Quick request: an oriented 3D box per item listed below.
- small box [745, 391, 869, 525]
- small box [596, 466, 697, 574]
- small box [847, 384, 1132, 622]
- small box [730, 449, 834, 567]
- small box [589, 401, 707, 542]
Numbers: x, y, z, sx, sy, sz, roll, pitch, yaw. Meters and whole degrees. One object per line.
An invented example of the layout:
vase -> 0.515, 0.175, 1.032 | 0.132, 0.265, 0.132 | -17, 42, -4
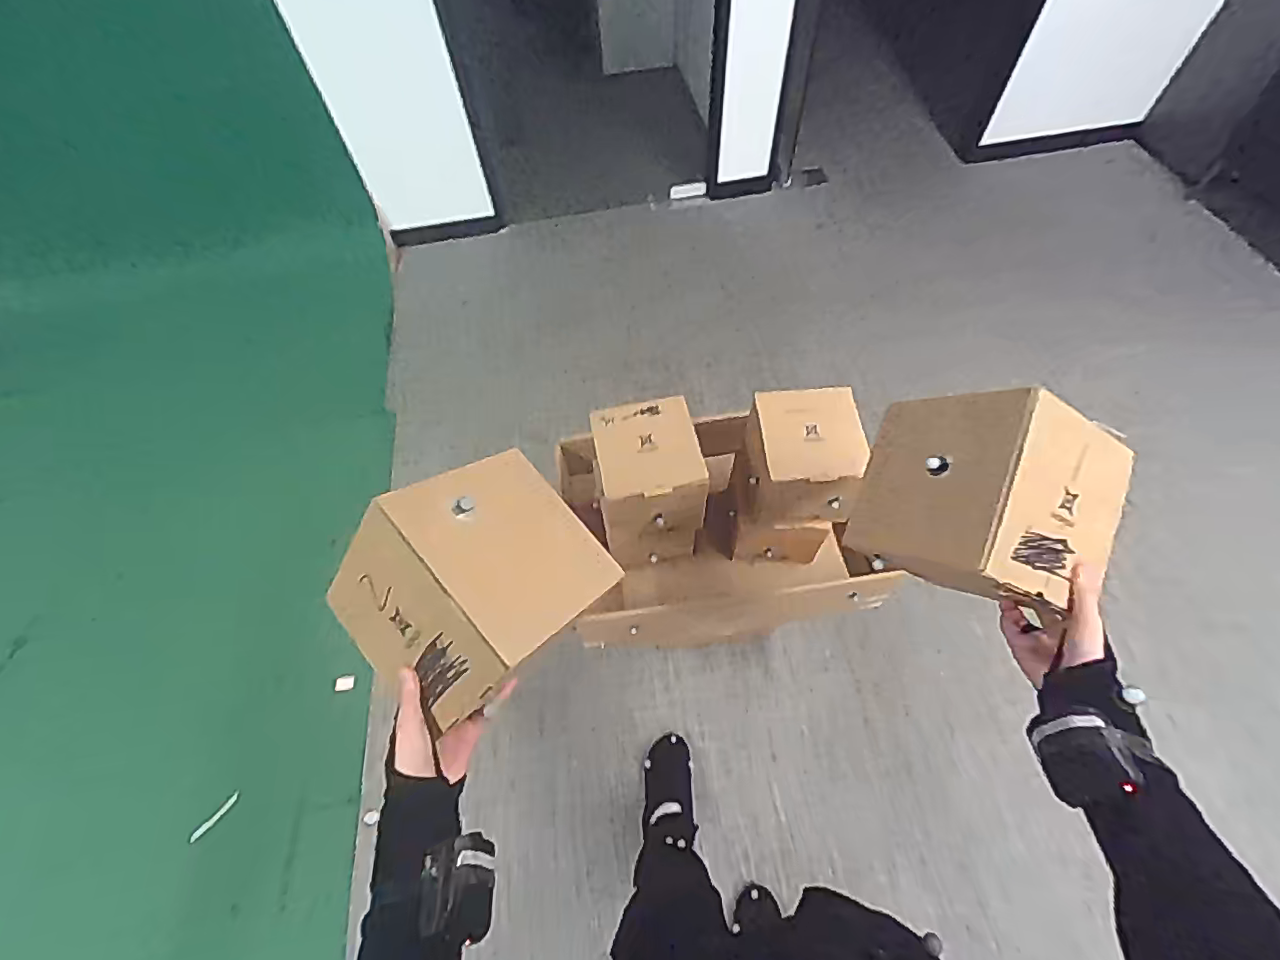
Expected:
small box -> 0.281, -0.029, 0.932 | 0.168, 0.176, 0.179 | -3, 60, 1
small box -> 0.012, 0.066, 1.079 | 0.168, 0.176, 0.179 | -12, 60, -3
small box -> 0.347, 0.023, 0.561 | 0.168, 0.176, 0.179 | 22, 83, -21
small box -> 0.271, 0.057, 1.071 | 0.168, 0.176, 0.179 | 1, 60, 4
small box -> 0.014, -0.006, 0.931 | 0.168, 0.176, 0.179 | -11, 60, -4
